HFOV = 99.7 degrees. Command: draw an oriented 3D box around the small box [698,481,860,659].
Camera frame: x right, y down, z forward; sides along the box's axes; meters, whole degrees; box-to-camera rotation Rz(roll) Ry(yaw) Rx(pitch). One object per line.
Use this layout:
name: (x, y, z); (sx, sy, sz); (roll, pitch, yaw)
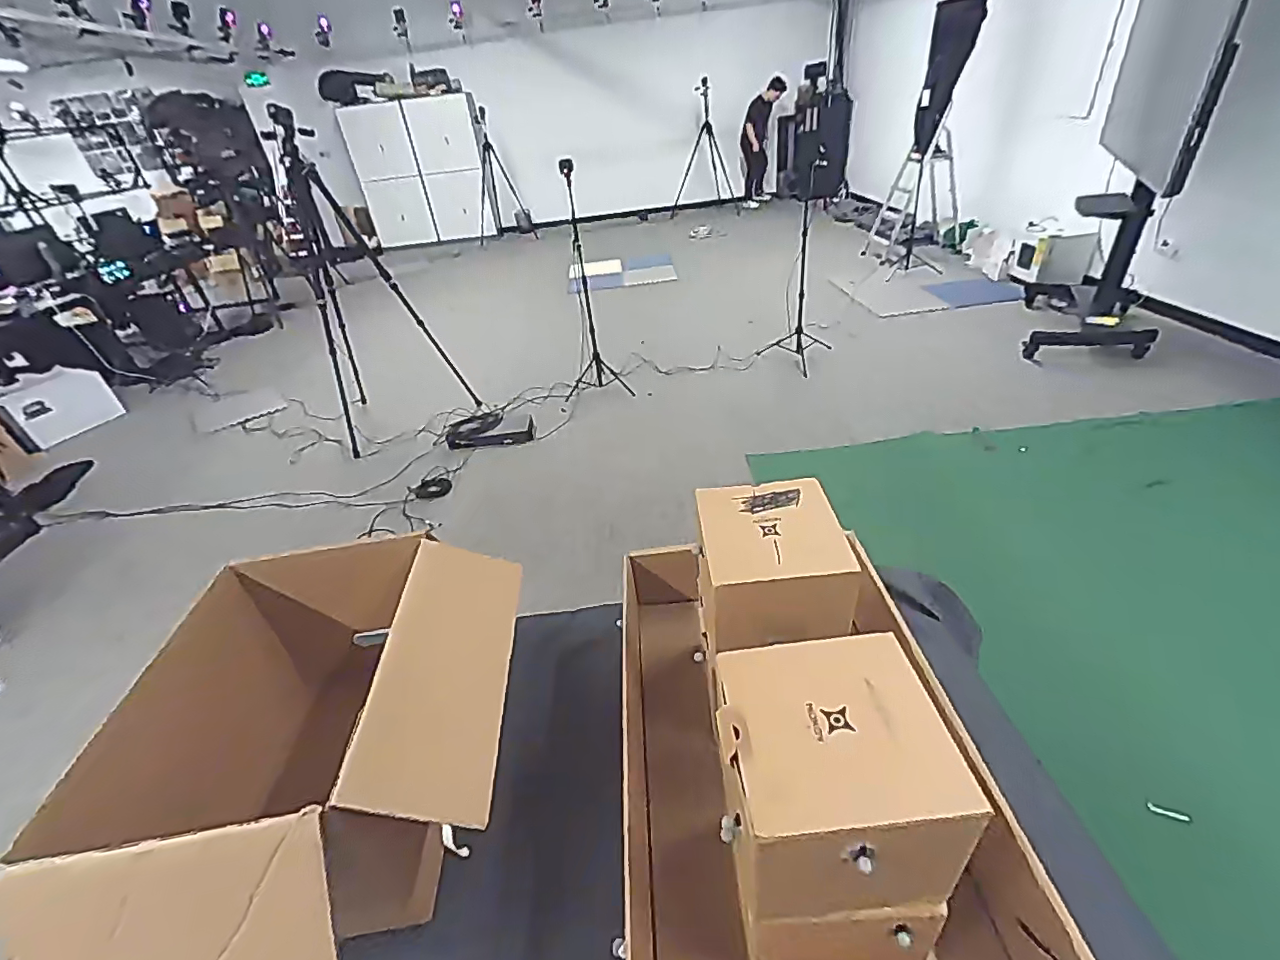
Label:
small box: (0.167, 0.124, 0.707); (0.168, 0.176, 0.179); (-6, 37, 3)

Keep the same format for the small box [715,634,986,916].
small box: (0.171, 0.271, 0.500); (0.179, 0.176, 0.168); (-7, 35, 1)
